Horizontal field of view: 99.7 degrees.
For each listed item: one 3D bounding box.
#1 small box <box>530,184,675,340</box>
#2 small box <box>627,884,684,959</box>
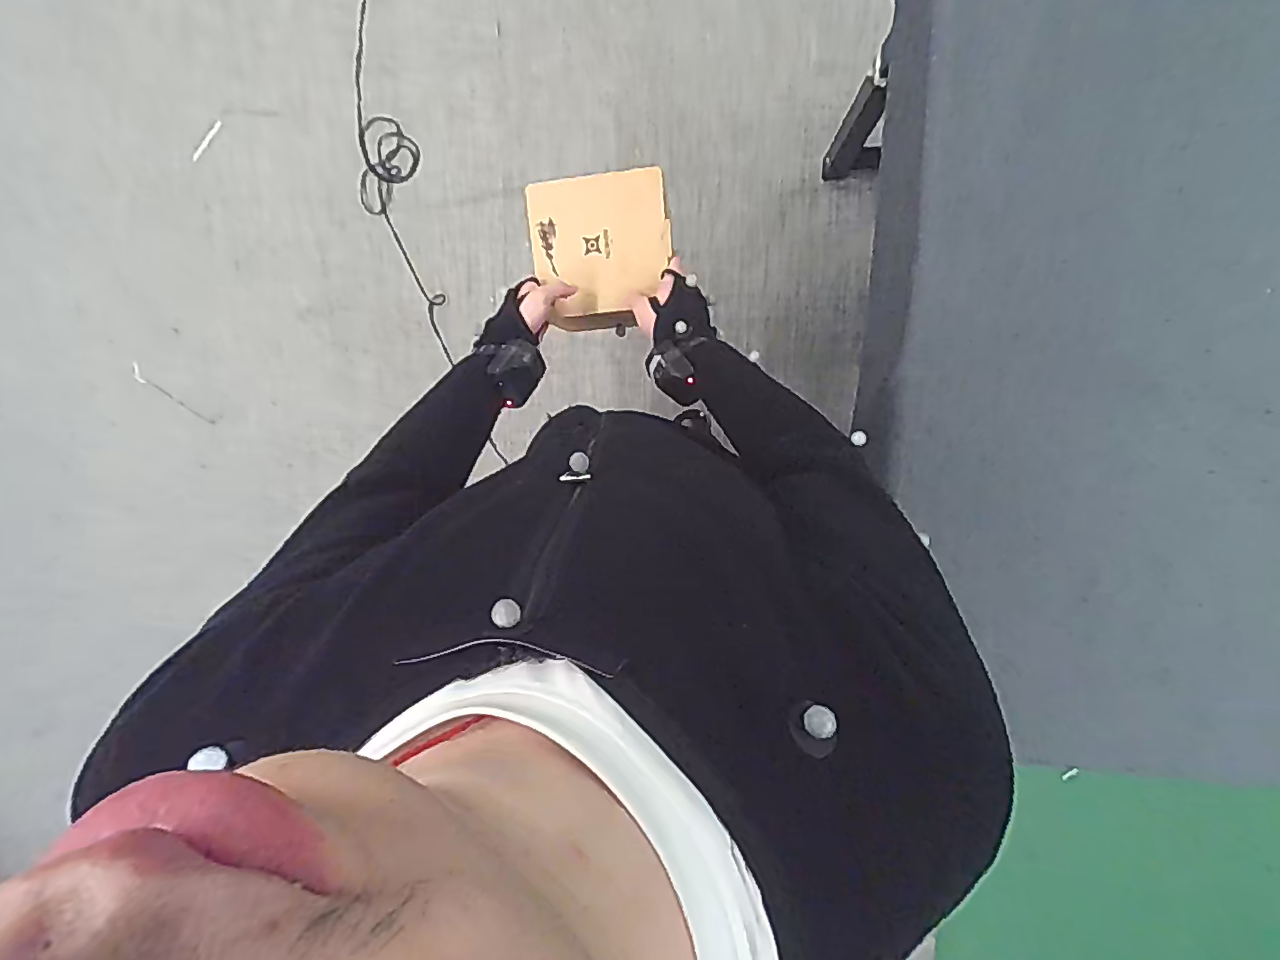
[{"bbox_3d":[-0.042,-0.293,0.762,0.179,0.176,0.168,-4,99,6],"label":"small box"},{"bbox_3d":[0.048,1.400,1.663,0.168,0.176,0.179,3,98,3],"label":"small box"}]
